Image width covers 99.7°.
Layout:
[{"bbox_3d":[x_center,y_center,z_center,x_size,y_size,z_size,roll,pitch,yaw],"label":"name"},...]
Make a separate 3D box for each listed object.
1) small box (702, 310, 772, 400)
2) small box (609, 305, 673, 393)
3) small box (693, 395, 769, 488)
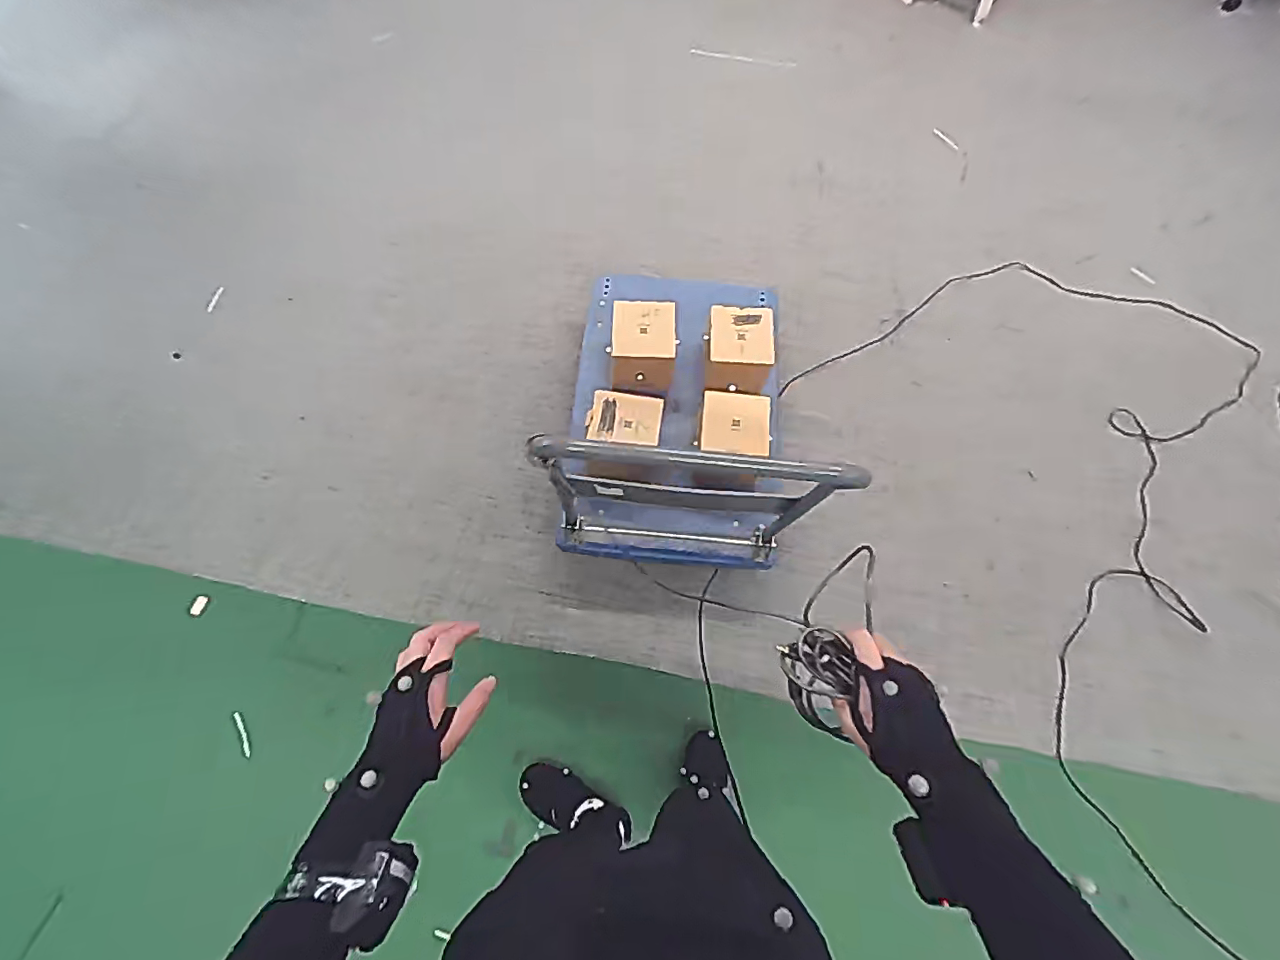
[{"bbox_3d":[0.261,-0.341,1.486,0.168,0.176,0.179,3,70,1],"label":"small box"},{"bbox_3d":[0.004,-0.354,1.486,0.168,0.176,0.179,2,69,-1],"label":"small box"},{"bbox_3d":[0.230,-0.096,1.395,0.168,0.176,0.179,6,69,1],"label":"small box"}]
